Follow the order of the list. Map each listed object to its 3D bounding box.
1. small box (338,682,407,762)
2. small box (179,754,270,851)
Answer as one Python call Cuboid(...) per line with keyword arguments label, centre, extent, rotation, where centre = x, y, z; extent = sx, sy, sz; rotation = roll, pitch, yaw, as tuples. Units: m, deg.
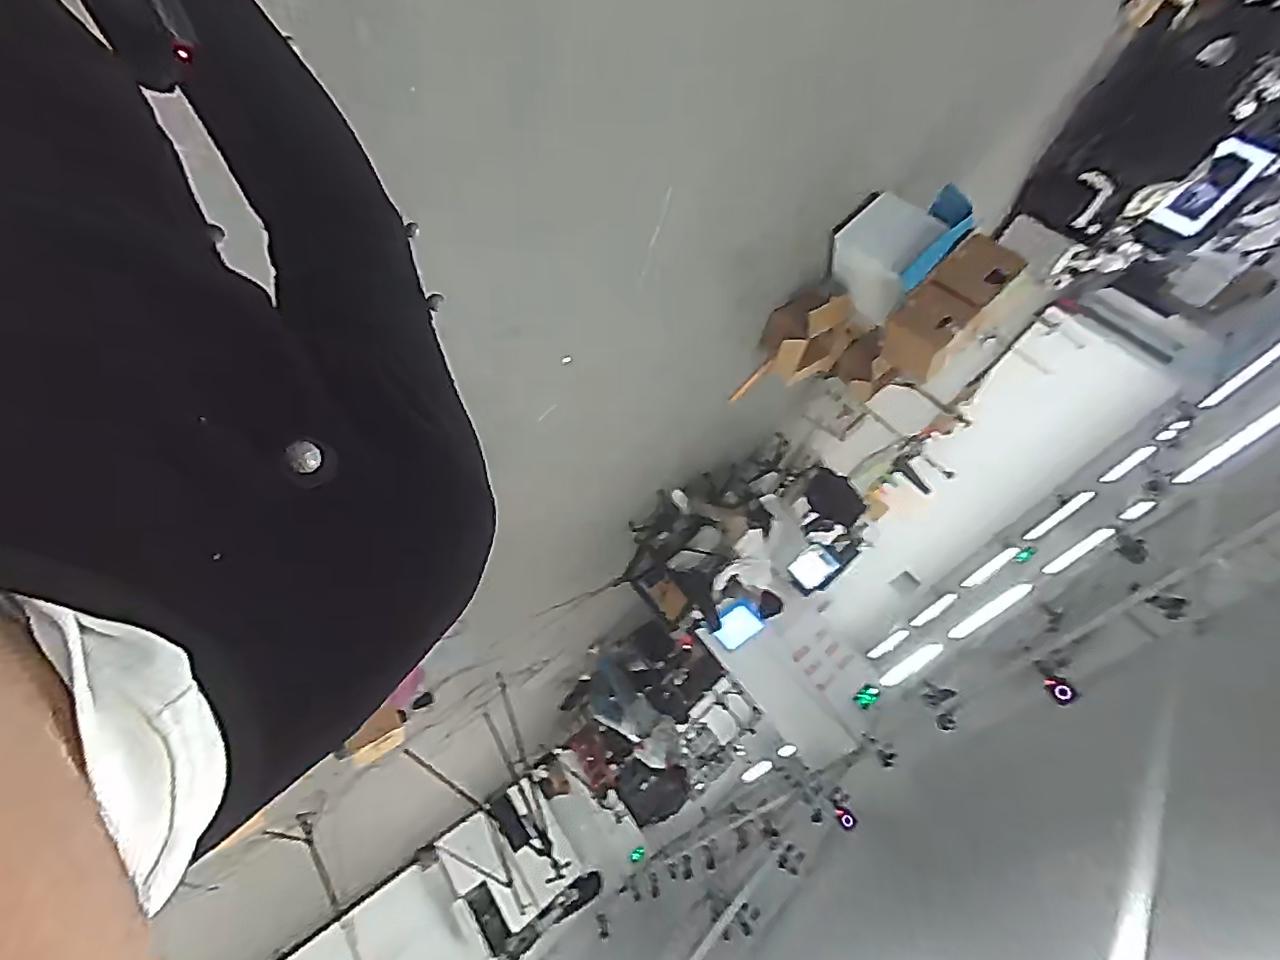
Cuboid(label="small box", centre=(-0.923, 0.829, 1.868), extent=(0.168, 0.176, 0.179), rotation=(-22, 150, -37))
Cuboid(label="small box", centre=(-1.235, 0.954, 1.611), extent=(0.168, 0.176, 0.179), rotation=(-21, 150, -38))
